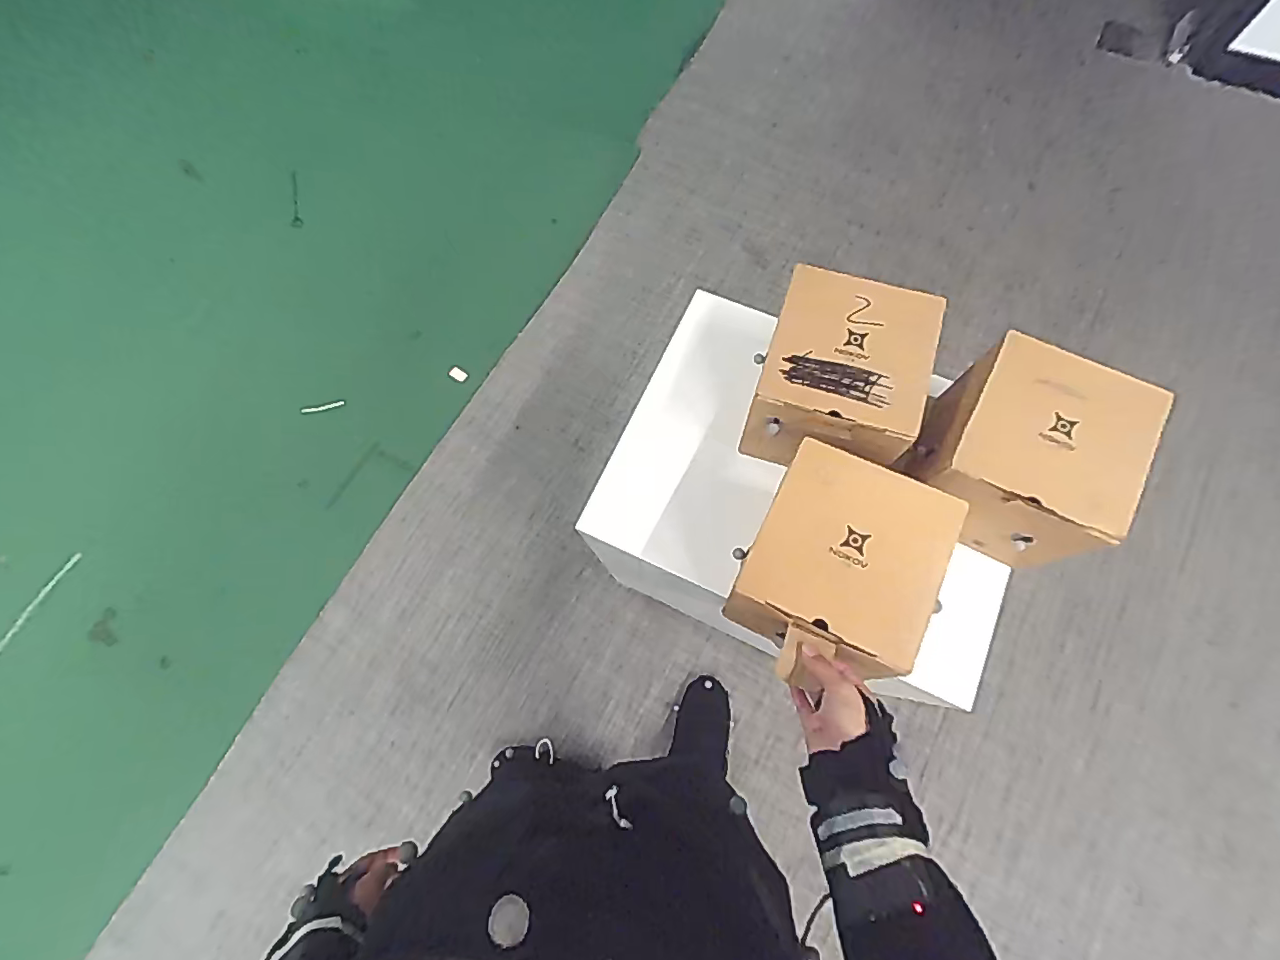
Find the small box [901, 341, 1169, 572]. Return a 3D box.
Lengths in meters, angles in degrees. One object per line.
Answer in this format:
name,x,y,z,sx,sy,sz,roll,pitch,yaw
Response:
small box,0.418,-0.015,0.608,0.168,0.176,0.179,27,75,11

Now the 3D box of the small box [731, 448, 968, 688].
small box,0.205,0.101,0.574,0.168,0.176,0.179,25,72,15
